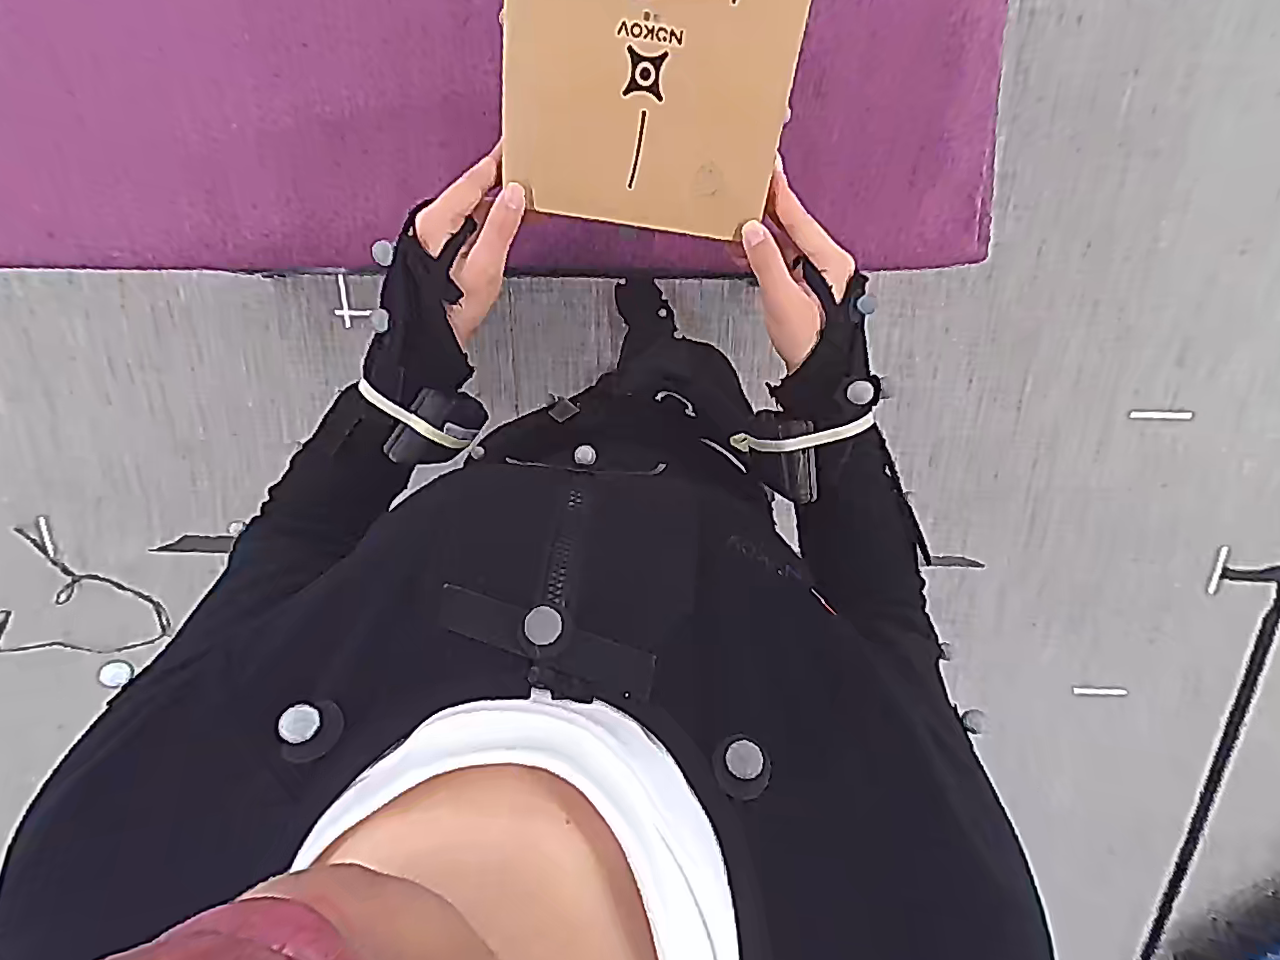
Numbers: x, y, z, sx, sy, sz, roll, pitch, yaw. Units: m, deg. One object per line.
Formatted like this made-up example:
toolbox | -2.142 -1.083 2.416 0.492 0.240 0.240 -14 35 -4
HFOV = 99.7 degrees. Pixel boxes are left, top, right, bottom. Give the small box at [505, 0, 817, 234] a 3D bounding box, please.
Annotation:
small box | 0.012 -0.280 0.368 0.168 0.176 0.179 8 118 -2
